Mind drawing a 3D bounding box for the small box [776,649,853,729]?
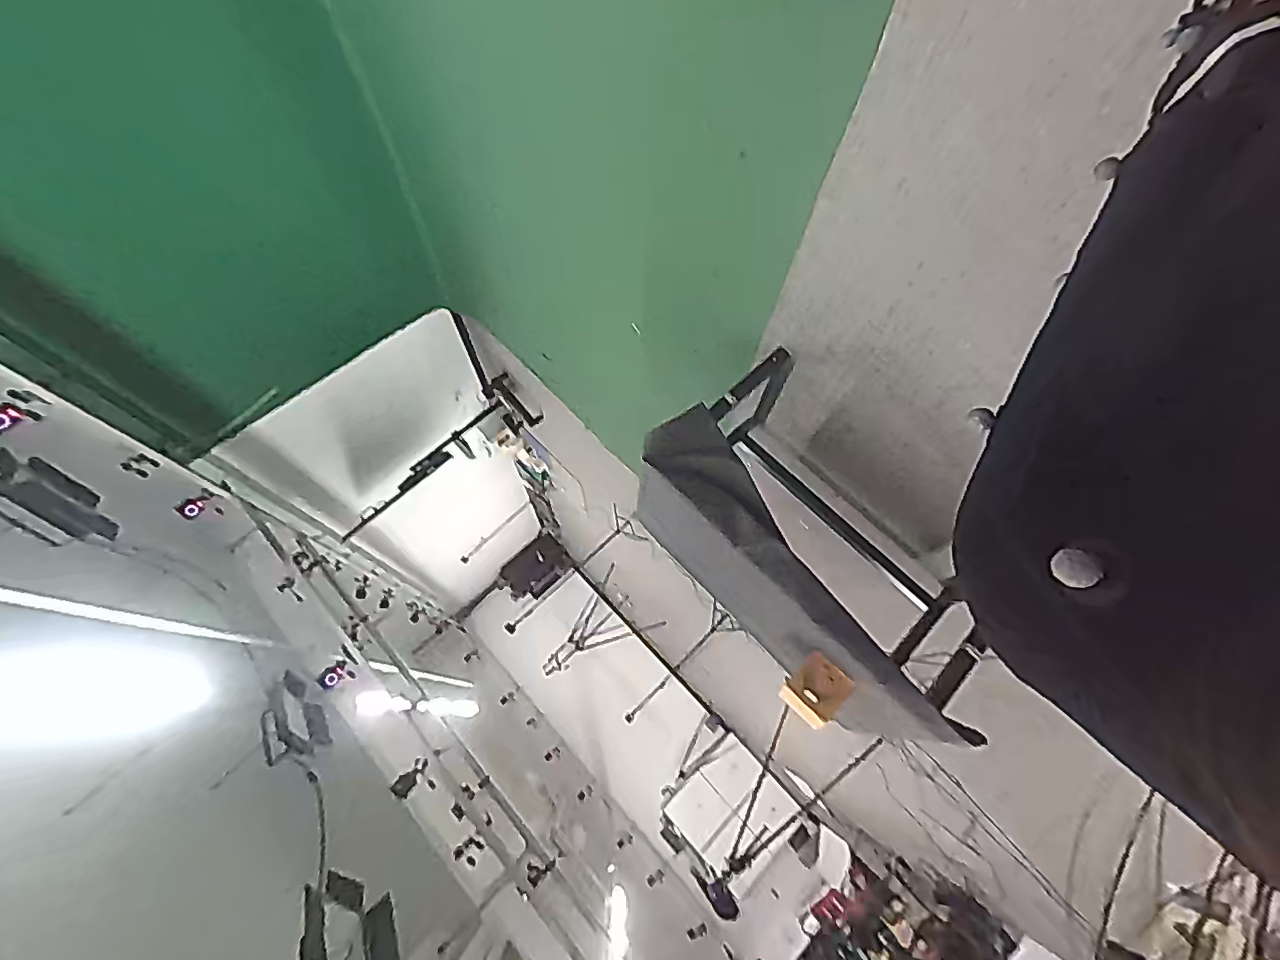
[{"bbox_3d":[0.583,0.698,1.809,0.168,0.176,0.179,41,160,26],"label":"small box"}]
